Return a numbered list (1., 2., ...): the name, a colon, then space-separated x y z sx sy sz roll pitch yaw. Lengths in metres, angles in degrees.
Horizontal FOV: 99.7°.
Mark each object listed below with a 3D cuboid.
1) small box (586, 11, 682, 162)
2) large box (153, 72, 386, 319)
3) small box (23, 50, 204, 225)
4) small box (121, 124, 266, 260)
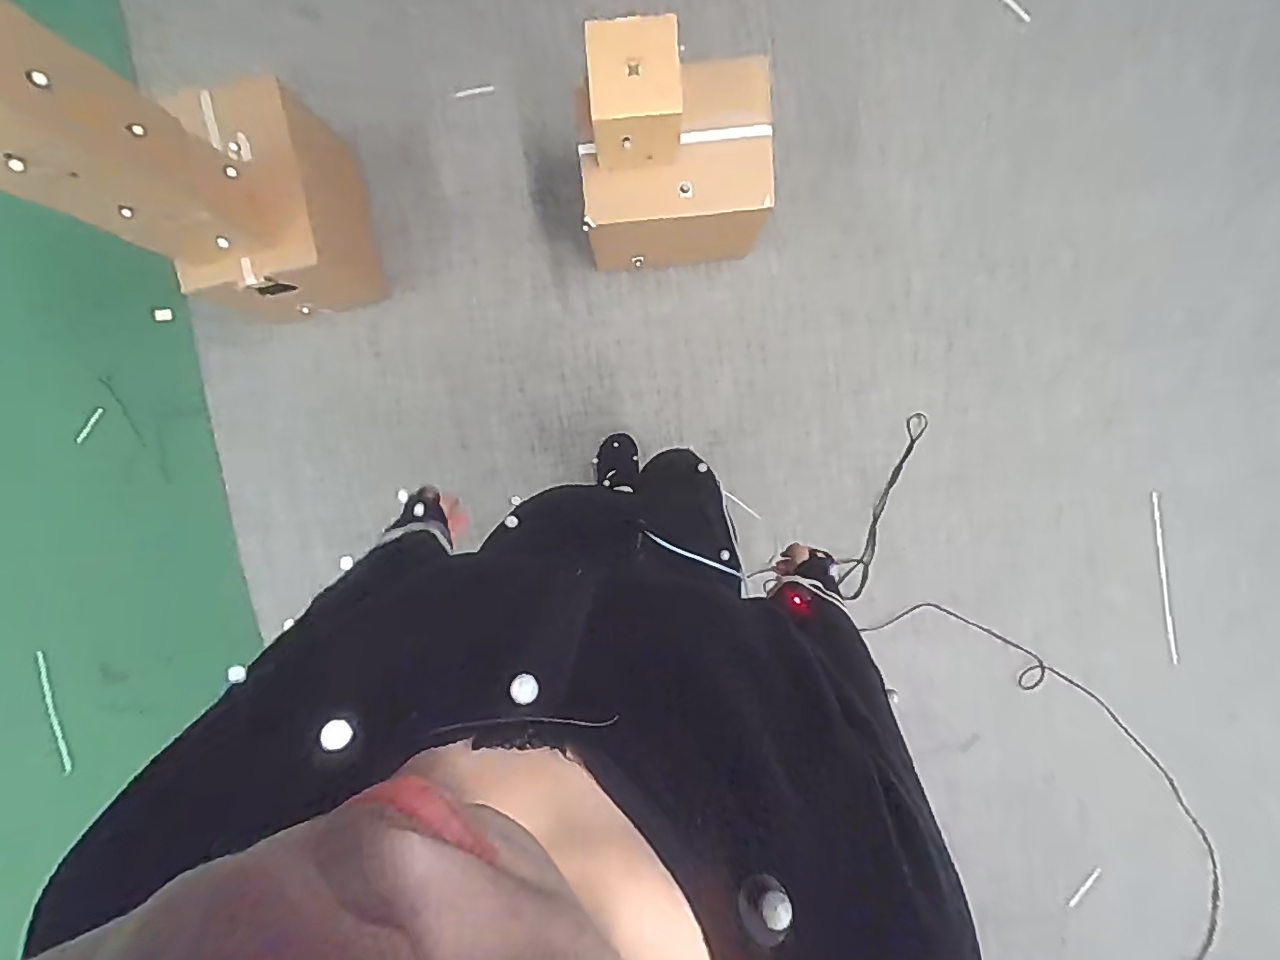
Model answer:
1. small box: -0.008 -0.737 1.036 0.168 0.176 0.179 -4 92 1
2. large box: -0.872 -0.647 1.303 0.320 0.320 0.408 -11 93 2
3. small box: -0.885 -0.551 0.902 0.168 0.176 0.179 -16 93 2
4. small box: -0.881 -0.556 1.066 0.179 0.176 0.168 -12 93 3
